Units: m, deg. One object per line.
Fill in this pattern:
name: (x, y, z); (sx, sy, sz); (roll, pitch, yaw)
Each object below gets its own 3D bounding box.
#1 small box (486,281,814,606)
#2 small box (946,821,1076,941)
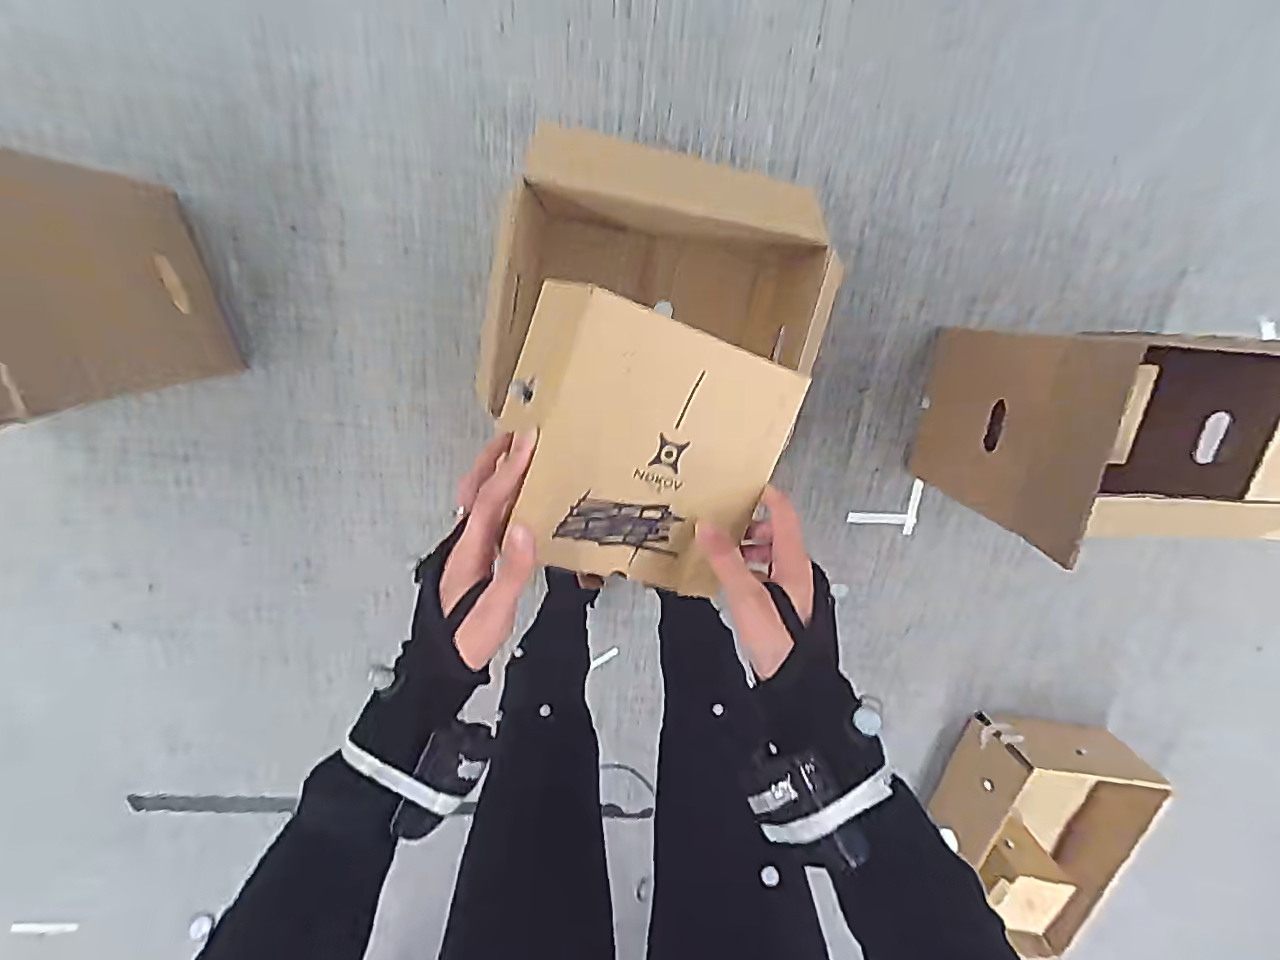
small box: (-0.012, -0.034, 0.409); (0.168, 0.176, 0.179); (16, 103, -25)
small box: (0.923, 1.003, 1.364); (0.179, 0.176, 0.168); (18, 105, -10)
